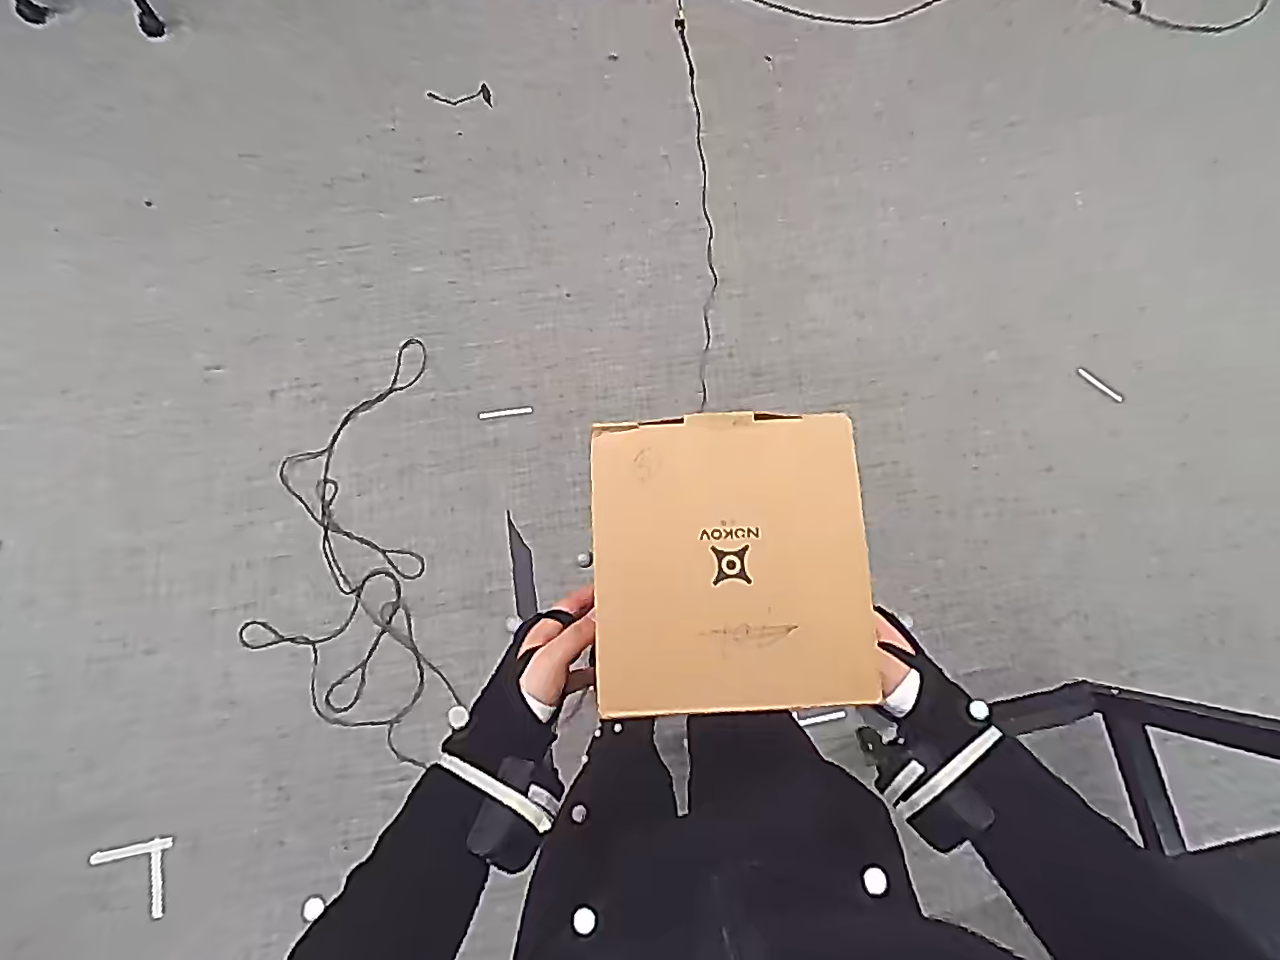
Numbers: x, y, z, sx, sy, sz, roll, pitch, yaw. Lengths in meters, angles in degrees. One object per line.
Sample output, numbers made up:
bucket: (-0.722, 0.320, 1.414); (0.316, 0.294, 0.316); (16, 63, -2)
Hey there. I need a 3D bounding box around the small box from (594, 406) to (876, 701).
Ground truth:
small box: (0.053, 0.054, 0.410); (0.168, 0.176, 0.179); (-3, 81, -1)
